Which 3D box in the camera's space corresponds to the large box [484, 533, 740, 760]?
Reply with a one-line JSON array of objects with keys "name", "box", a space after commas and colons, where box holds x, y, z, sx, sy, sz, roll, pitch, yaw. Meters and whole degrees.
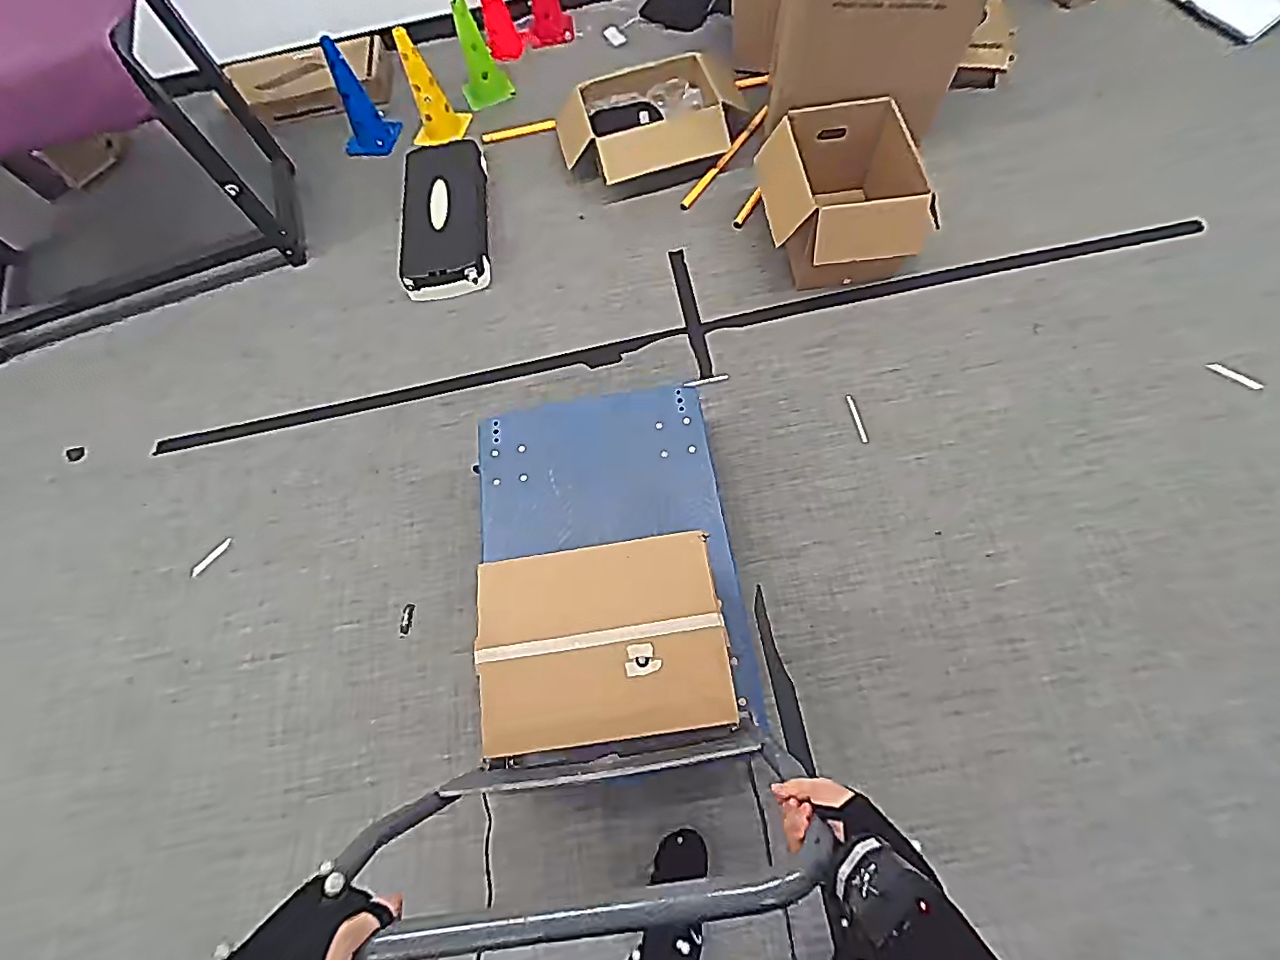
[{"name": "large box", "box": [-0.051, 0.322, 1.036, 0.408, 0.320, 0.320, -9, 68, 1]}]
